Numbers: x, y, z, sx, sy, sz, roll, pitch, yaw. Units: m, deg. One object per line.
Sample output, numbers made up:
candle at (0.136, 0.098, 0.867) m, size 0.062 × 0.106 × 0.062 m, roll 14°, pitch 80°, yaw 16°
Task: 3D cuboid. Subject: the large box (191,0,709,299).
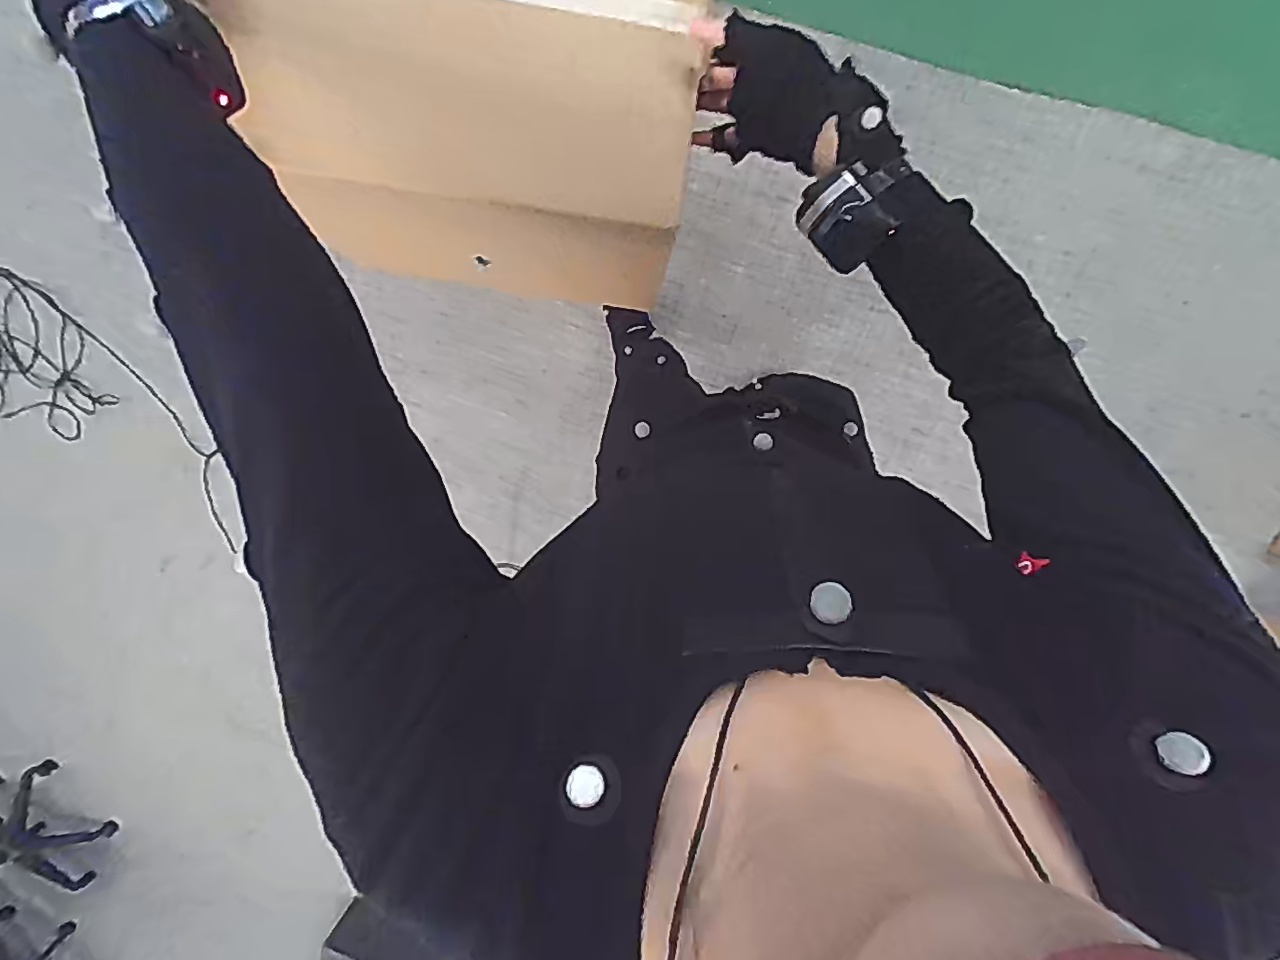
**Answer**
large box at (-0.147, -0.402, 0.574) m, size 0.408 × 0.320 × 0.320 m, roll 8°, pitch 94°, yaw -3°
